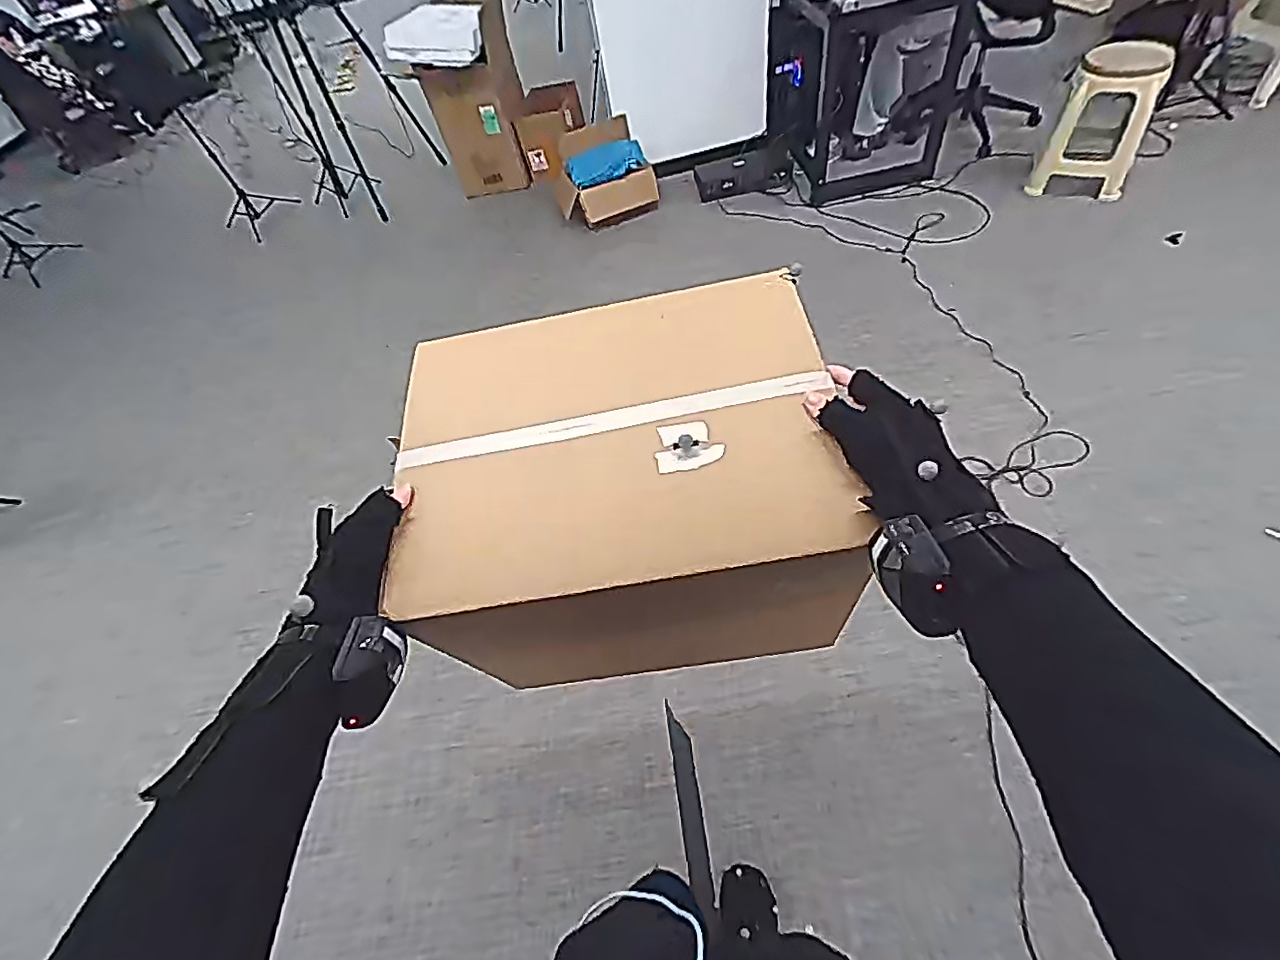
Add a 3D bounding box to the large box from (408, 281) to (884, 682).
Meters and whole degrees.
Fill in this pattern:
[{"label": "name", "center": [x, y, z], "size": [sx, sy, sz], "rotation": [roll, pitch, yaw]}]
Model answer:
[{"label": "large box", "center": [0.003, 0.025, 0.640], "size": [0.408, 0.320, 0.320], "rotation": [-10, 59, 4]}]
